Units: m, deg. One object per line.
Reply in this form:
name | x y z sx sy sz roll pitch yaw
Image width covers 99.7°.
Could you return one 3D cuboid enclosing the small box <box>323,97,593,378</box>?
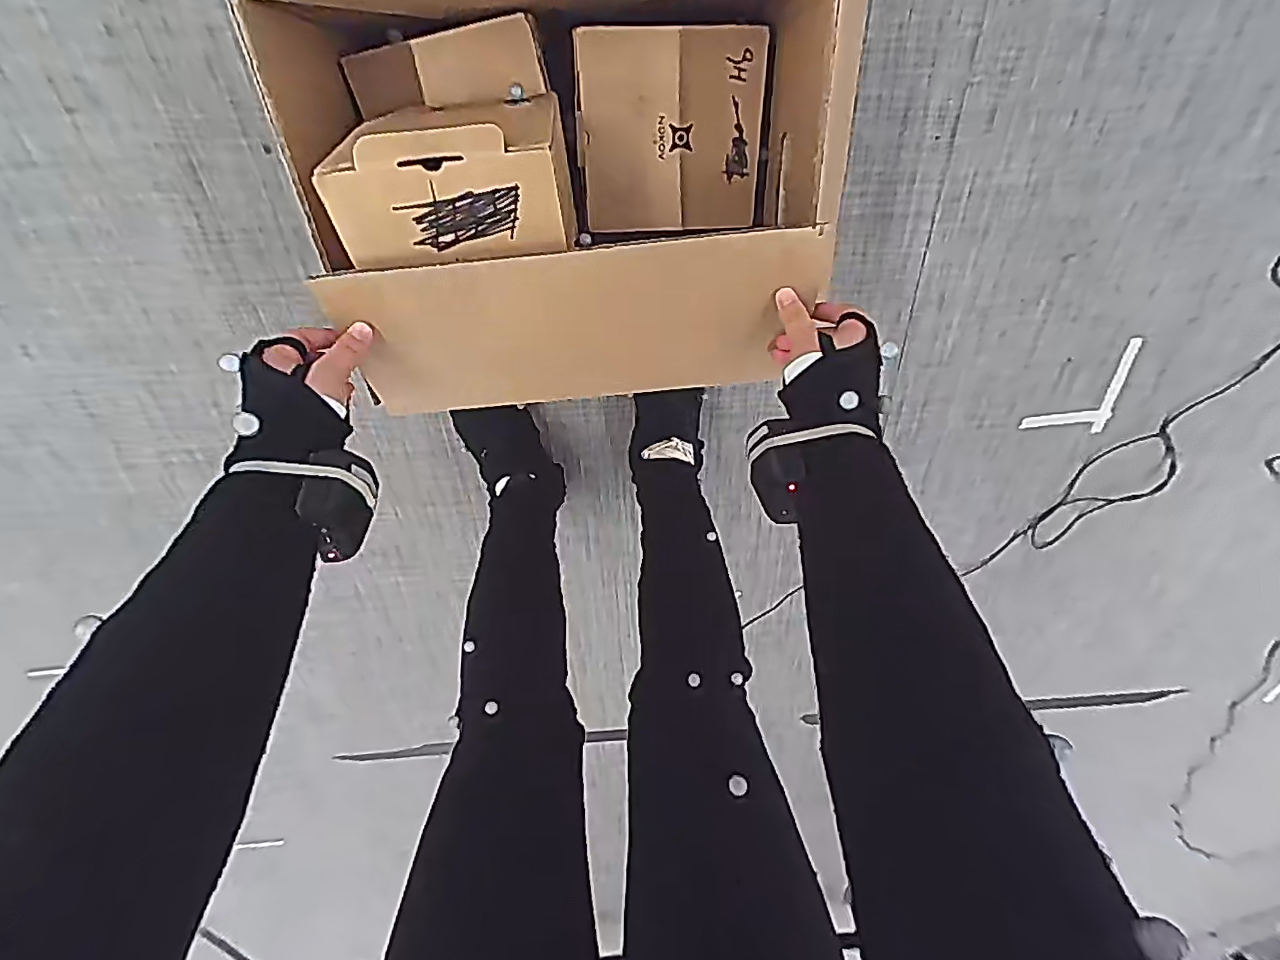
small box | -0.136 -0.217 0.478 0.168 0.176 0.179 -6 137 0
